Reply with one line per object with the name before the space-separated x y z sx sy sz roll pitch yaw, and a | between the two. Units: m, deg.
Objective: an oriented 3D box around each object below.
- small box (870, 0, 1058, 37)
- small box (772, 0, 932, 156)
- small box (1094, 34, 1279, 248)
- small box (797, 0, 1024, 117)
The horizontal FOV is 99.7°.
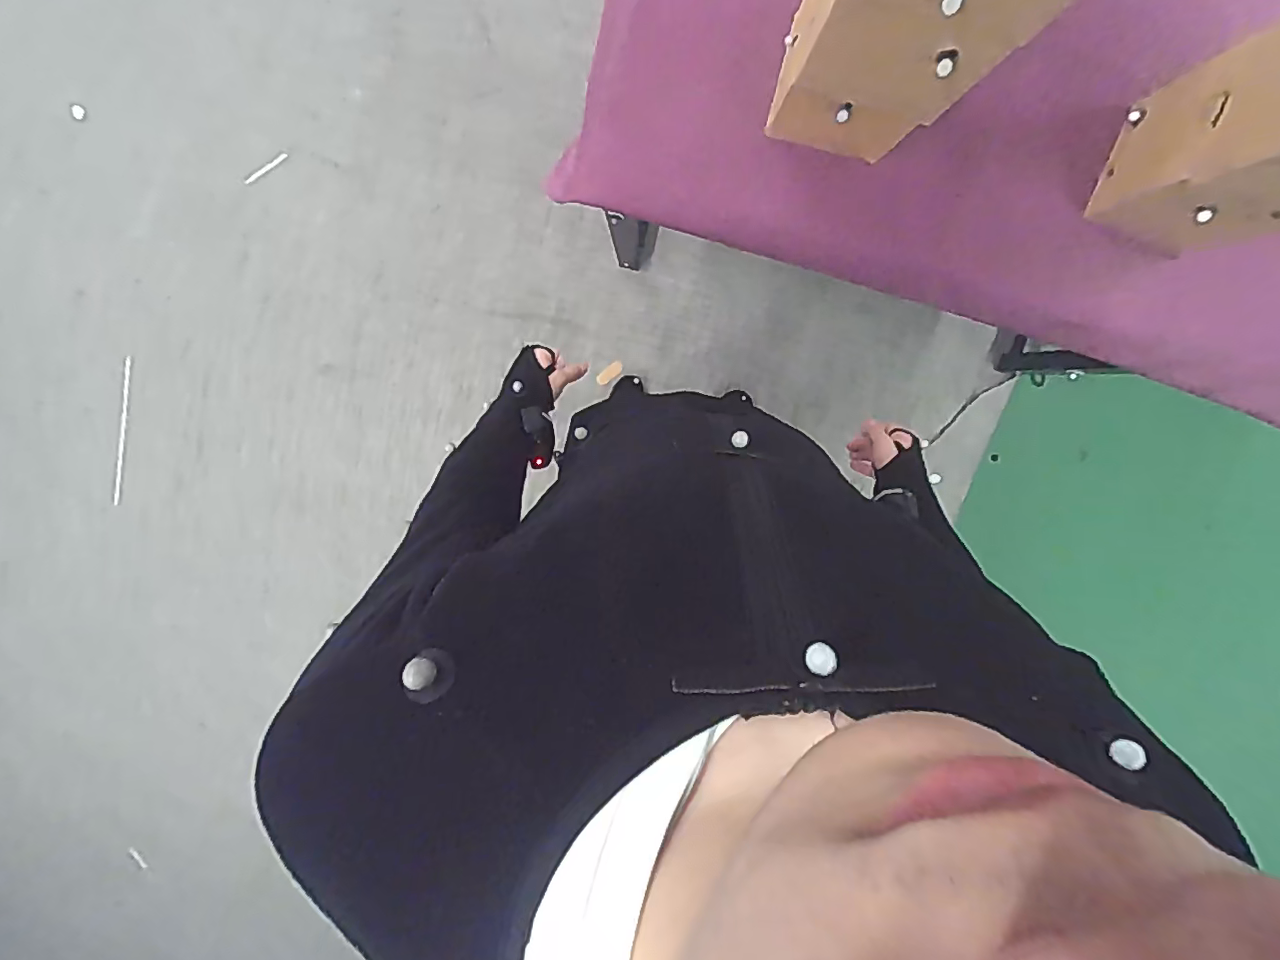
small box | 0.281 -0.477 0.396 0.179 0.176 0.168 15 101 -2
small box | 0.293 -0.558 0.715 0.179 0.176 0.168 14 101 0
small box | 0.774 -0.430 0.720 0.179 0.176 0.168 18 101 -2
small box | 0.286 -0.512 0.556 0.179 0.176 0.168 16 101 -1
